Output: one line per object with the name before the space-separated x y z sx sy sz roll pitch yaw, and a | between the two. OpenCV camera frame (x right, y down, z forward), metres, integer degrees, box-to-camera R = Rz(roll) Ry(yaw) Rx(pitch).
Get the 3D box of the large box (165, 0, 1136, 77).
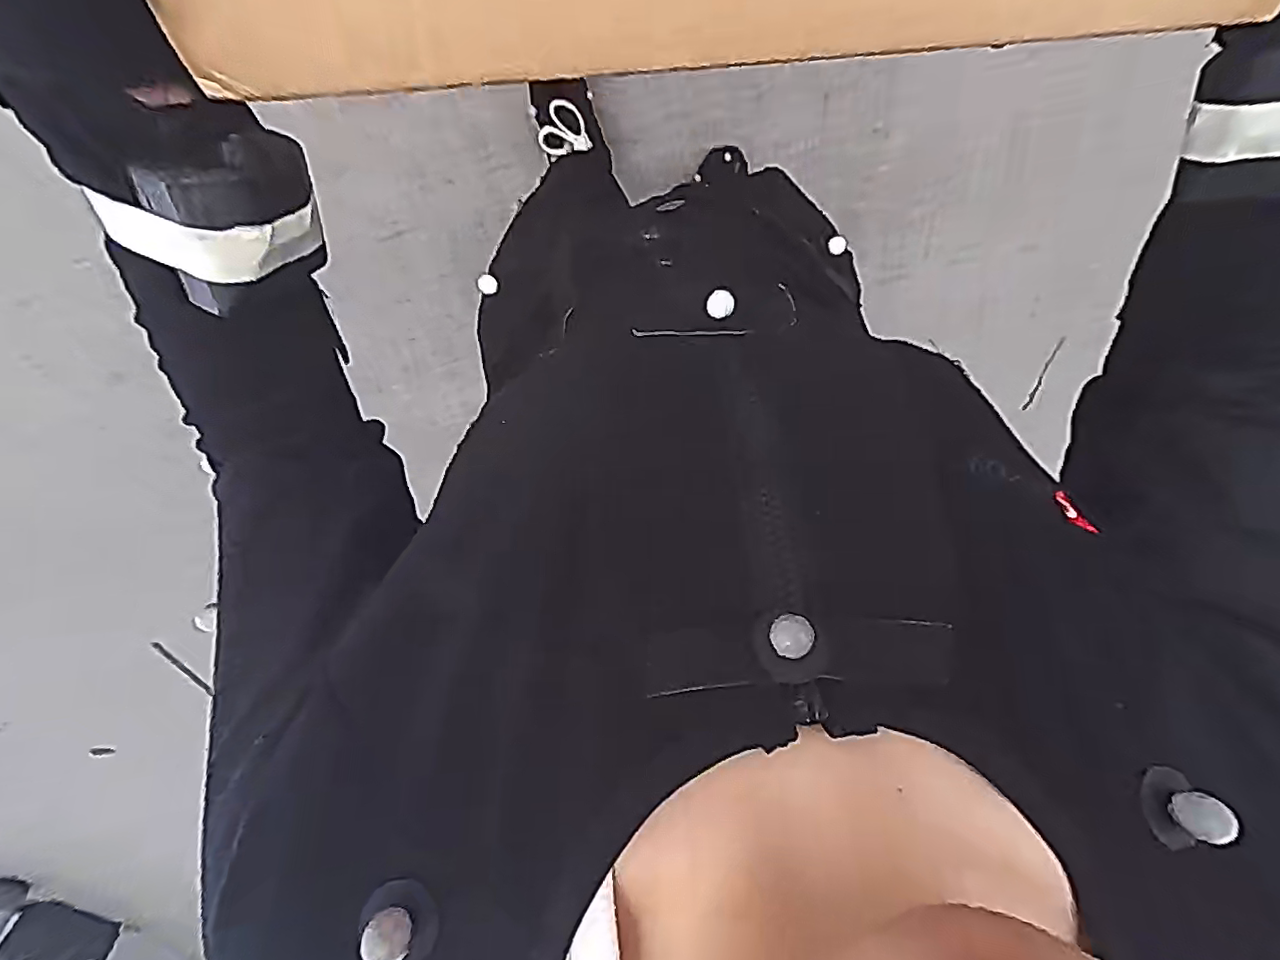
large box | 0.013 -0.383 0.175 0.408 0.320 0.320 -6 142 -2
